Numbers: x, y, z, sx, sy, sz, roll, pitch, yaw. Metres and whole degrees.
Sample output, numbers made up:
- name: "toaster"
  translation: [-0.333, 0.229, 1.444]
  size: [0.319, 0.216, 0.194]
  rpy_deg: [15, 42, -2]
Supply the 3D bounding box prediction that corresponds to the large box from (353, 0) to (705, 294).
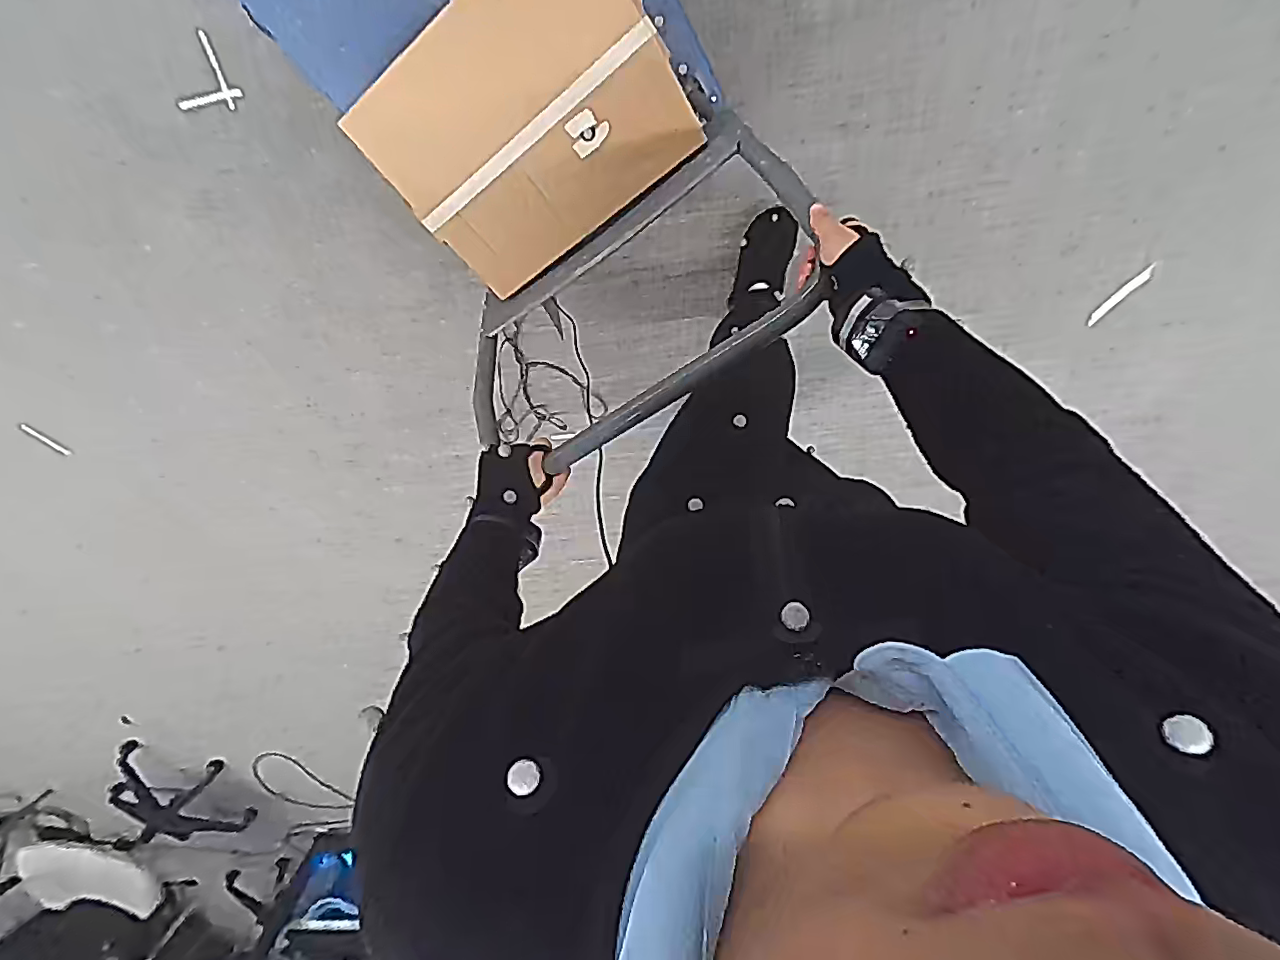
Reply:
- name: "large box"
  translation: [-0.166, -0.591, 0.869]
  size: [0.408, 0.320, 0.320]
  rpy_deg: [-31, 129, 18]
